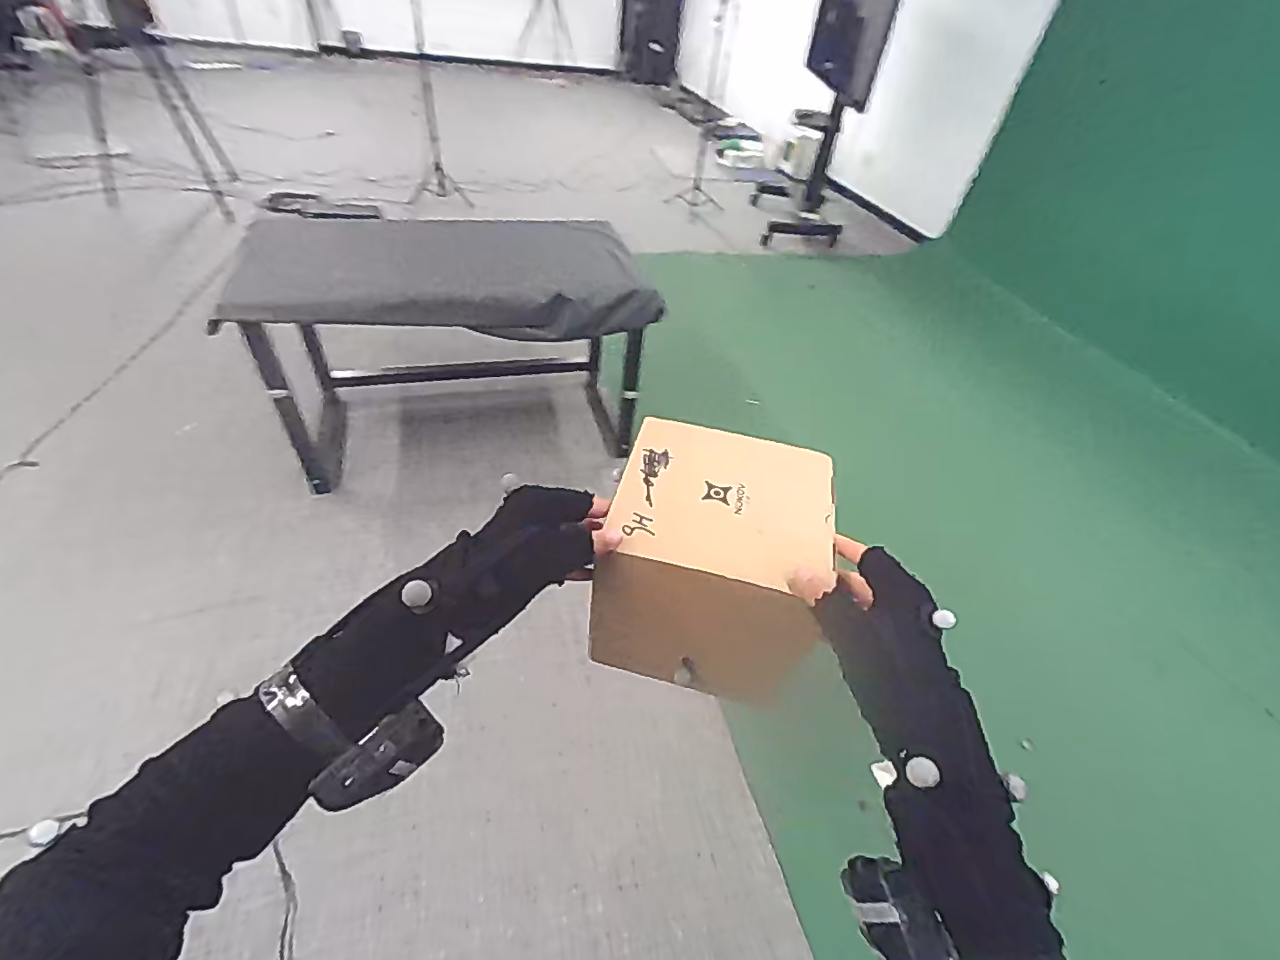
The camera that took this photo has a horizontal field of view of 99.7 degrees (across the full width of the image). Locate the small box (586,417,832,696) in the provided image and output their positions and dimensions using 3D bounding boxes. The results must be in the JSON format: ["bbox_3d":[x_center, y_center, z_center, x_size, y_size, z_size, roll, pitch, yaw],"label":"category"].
[{"bbox_3d":[0.058,0.072,0.495,0.179,0.176,0.168,14,42,5],"label":"small box"}]
